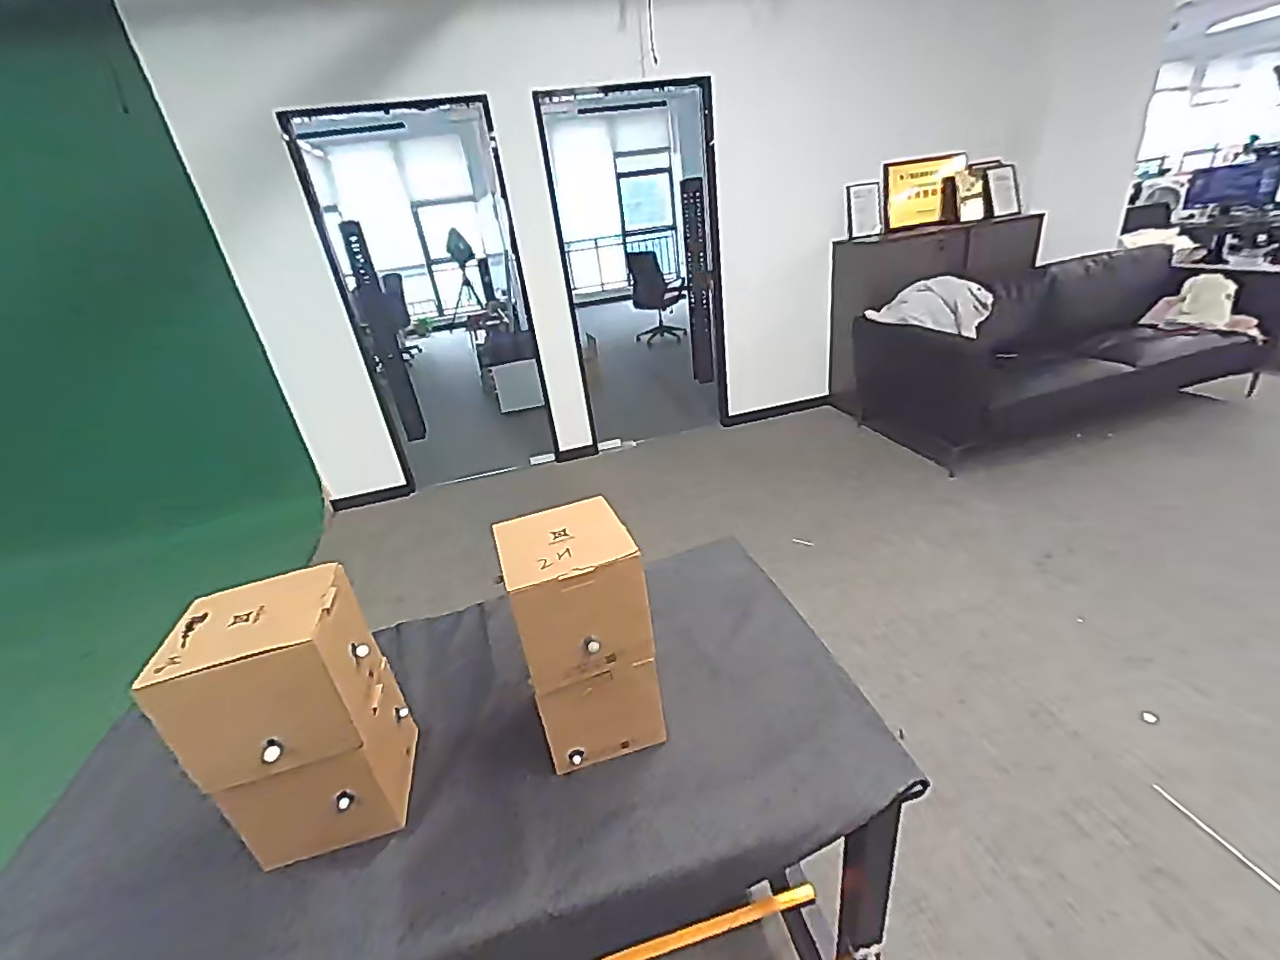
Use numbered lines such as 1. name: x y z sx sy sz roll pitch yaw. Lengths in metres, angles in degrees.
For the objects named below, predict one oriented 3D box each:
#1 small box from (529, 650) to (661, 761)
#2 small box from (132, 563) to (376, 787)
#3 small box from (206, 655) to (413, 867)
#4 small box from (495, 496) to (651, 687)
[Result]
1. small box: -0.073 0.293 0.821 0.168 0.176 0.179 -12 25 -11
2. small box: -0.446 0.233 0.667 0.179 0.176 0.168 -13 25 -13
3. small box: -0.428 0.379 0.742 0.179 0.176 0.168 -13 25 -10
4. small box: -0.095 0.147 0.748 0.168 0.176 0.179 -15 27 -15
